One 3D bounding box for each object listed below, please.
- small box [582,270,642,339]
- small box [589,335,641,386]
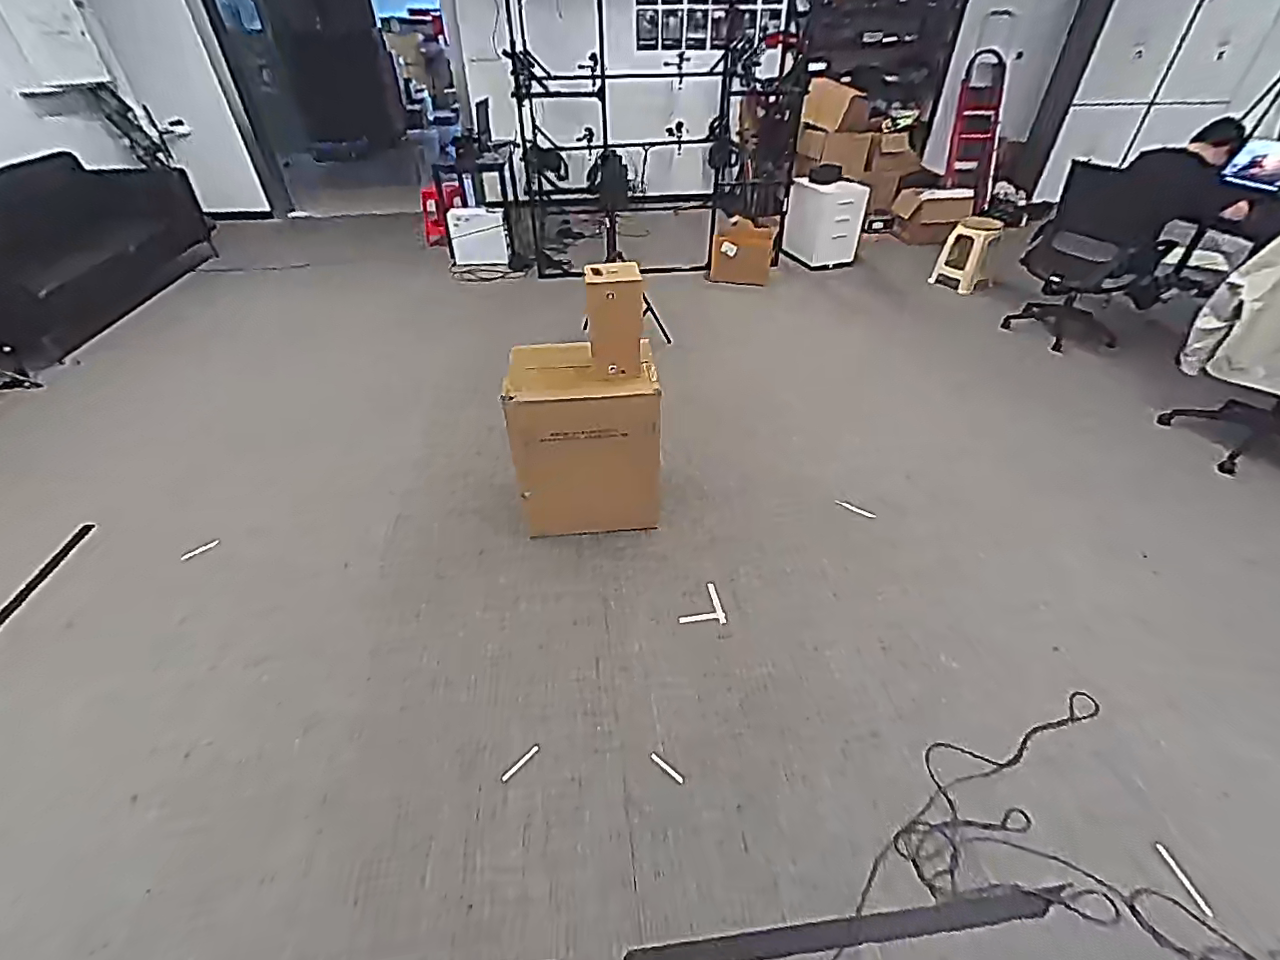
[{"bbox_3d":[-0.090,-0.568,1.758,0.179,0.176,0.168,-5,40,-4],"label":"small box"},{"bbox_3d":[-0.088,-0.442,1.863,0.168,0.176,0.179,-6,41,-3],"label":"small box"}]
